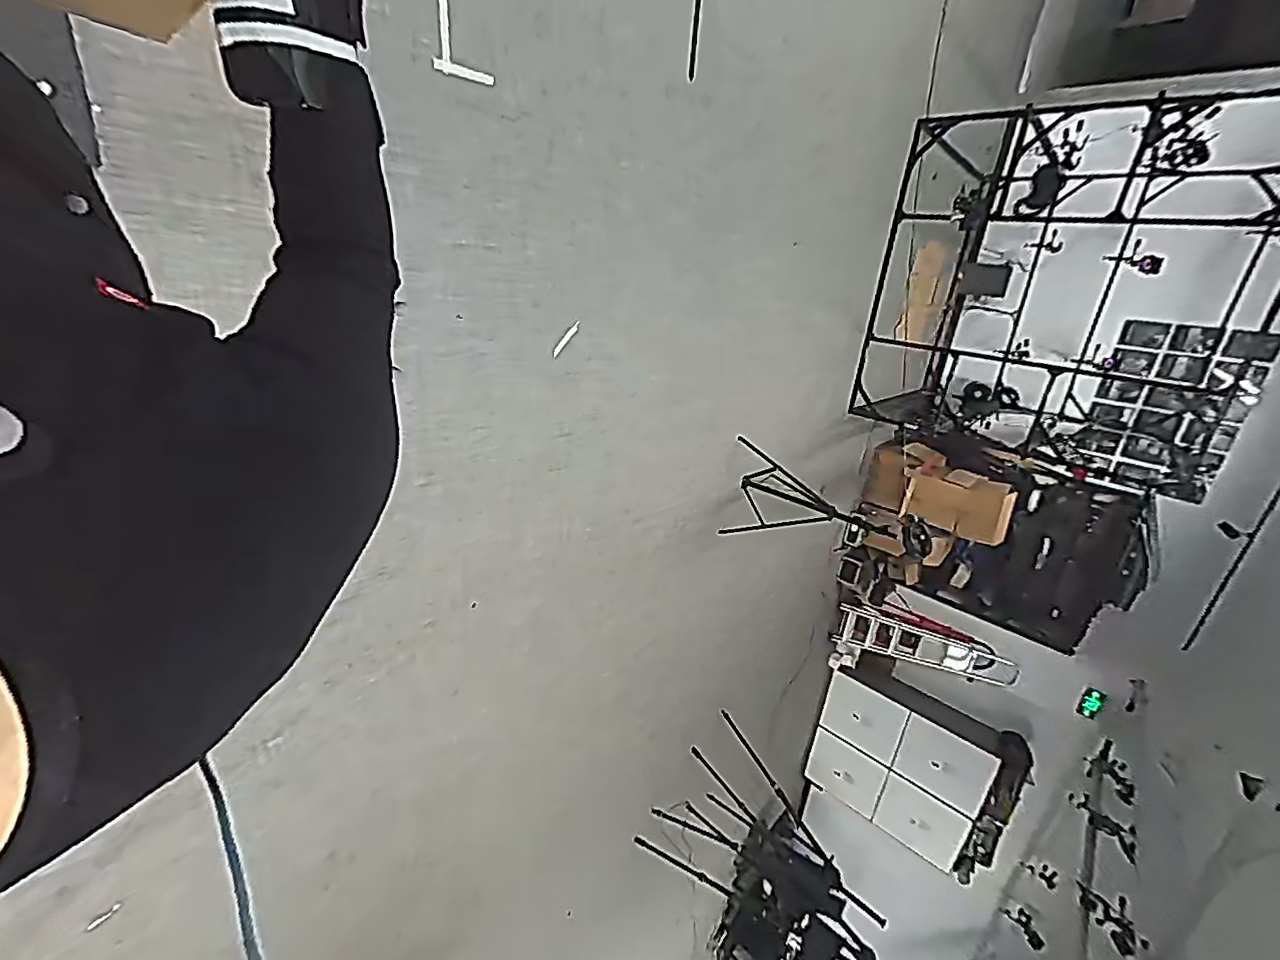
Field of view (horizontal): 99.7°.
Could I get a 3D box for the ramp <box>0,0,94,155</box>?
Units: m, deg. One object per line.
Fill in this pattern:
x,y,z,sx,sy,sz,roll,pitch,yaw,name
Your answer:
-1.041,-0.959,0.581,0.509,0.206,0.991,-21,125,-46,ramp

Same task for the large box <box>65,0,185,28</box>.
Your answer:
-0.460,-0.482,0.227,0.408,0.320,0.320,-12,120,-46,large box
